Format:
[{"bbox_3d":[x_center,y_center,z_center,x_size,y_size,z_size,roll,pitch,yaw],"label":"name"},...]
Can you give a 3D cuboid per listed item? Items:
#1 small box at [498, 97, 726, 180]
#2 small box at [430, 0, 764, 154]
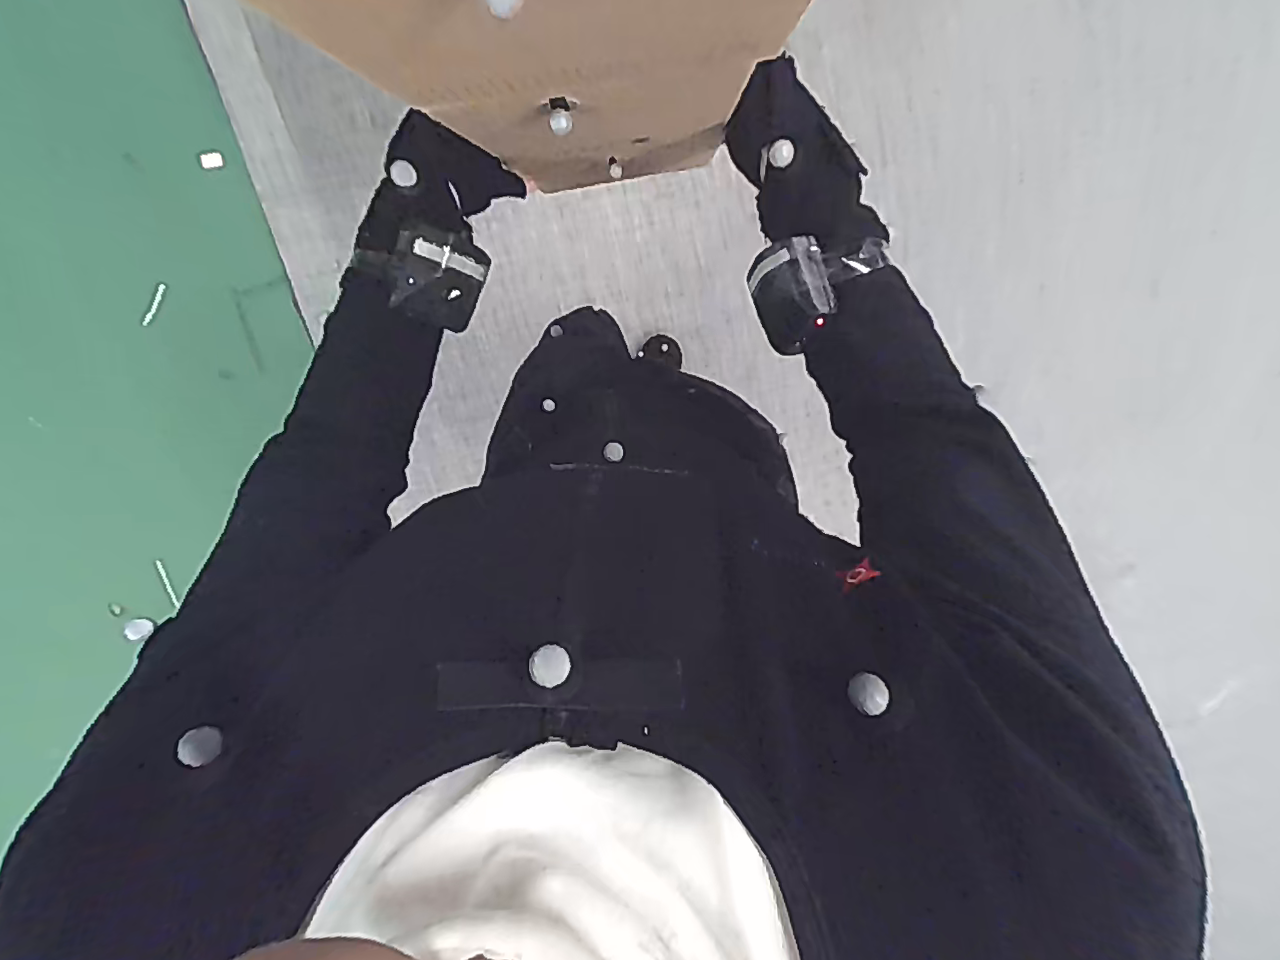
[{"bbox_3d":[-0.031,-0.367,0.456,0.179,0.176,0.168,-8,112,4],"label":"small box"},{"bbox_3d":[-0.034,-0.310,0.305,0.168,0.176,0.179,-9,112,4],"label":"small box"}]
